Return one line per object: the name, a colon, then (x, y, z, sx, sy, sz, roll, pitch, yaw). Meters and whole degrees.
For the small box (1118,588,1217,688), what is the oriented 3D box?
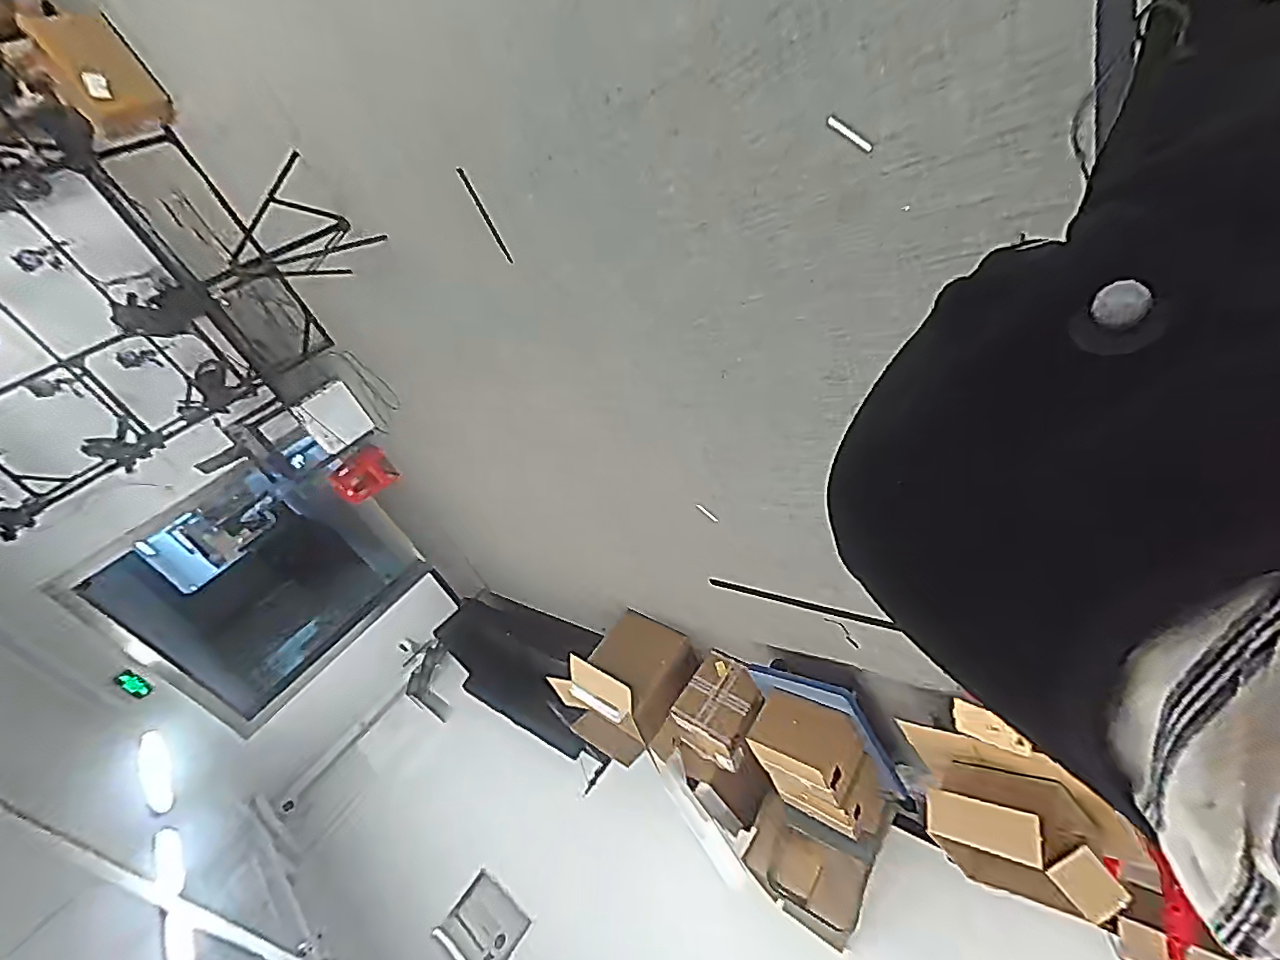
small box: (1.395, 0.409, 1.432, 0.179, 0.176, 0.168, 6, 134, 45)

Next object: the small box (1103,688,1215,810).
small box: (1.206, 0.615, 1.260, 0.179, 0.176, 0.168, 4, 134, 46)

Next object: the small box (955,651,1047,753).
small box: (0.987, 0.598, 1.482, 0.179, 0.176, 0.168, 12, 137, 43)
